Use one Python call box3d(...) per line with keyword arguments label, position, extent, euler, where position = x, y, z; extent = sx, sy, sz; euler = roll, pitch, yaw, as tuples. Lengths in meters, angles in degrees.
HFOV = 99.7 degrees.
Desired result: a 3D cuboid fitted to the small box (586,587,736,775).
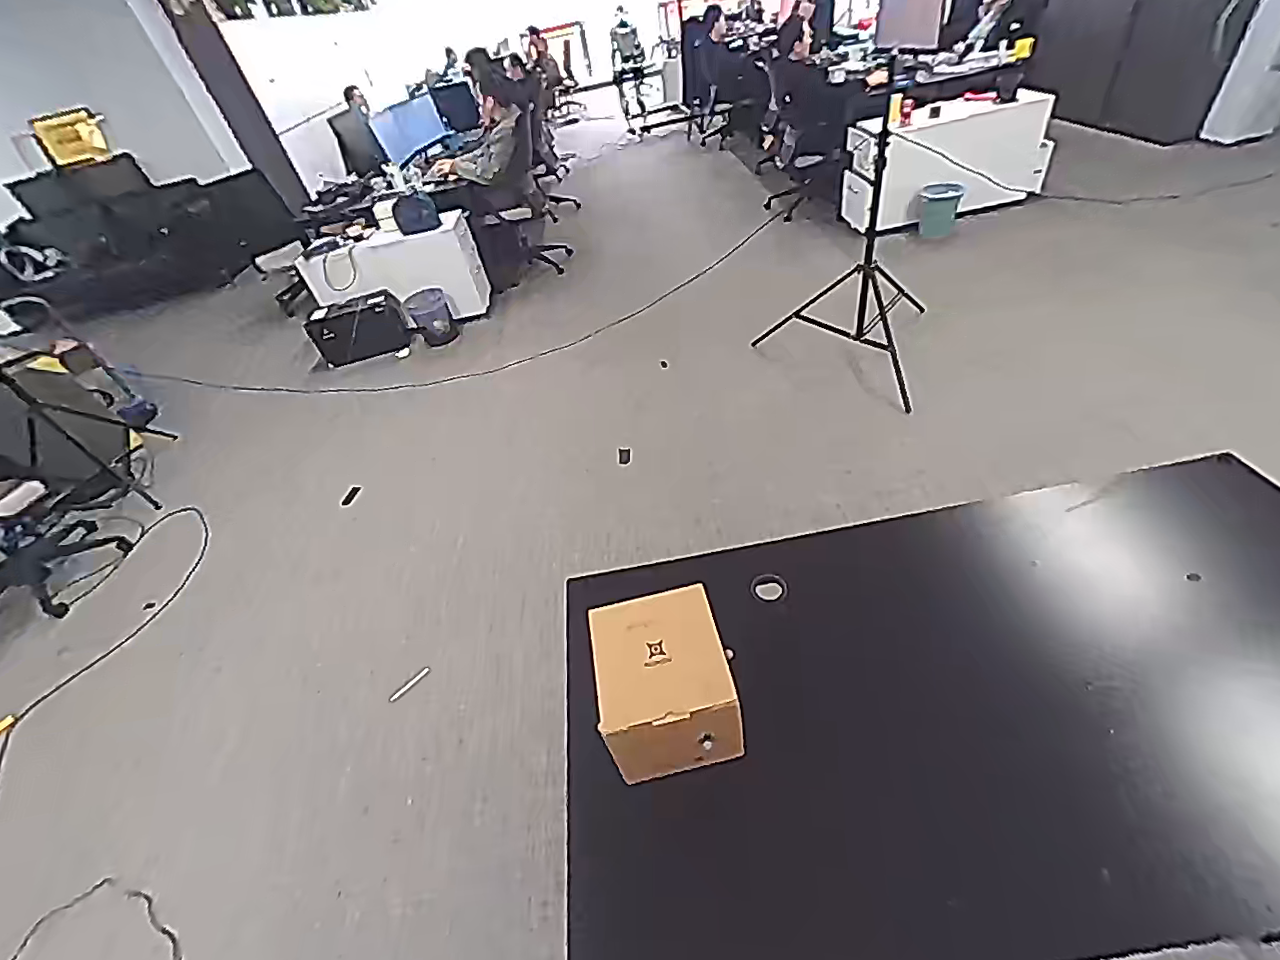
box3d(label="small box", position=(0.030, 0.282, 0.748), extent=(0.168, 0.176, 0.179), euler=(-13, 41, -2))
